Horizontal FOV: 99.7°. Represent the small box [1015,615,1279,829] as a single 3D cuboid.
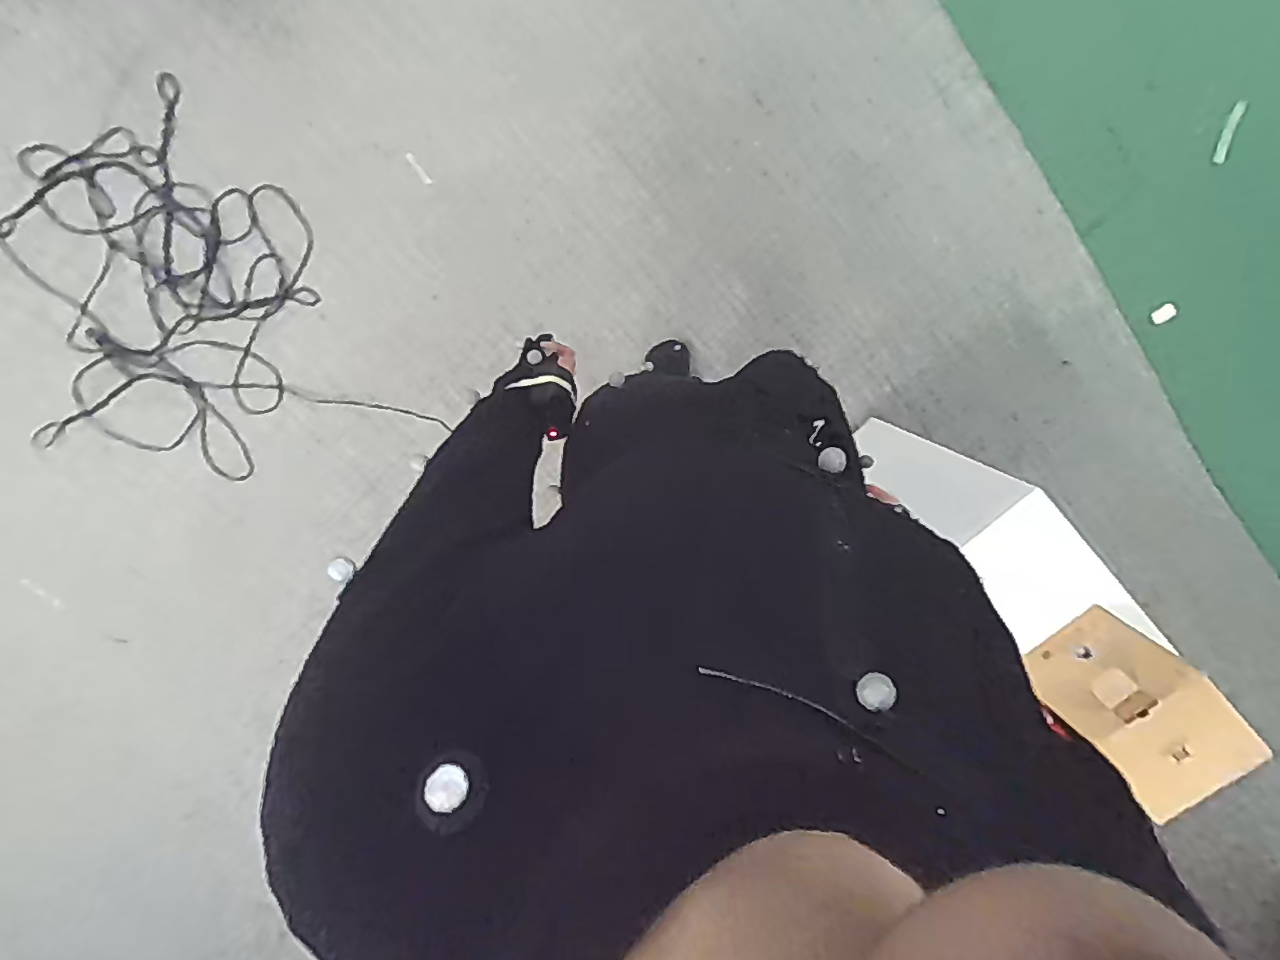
[{"bbox_3d":[0.684,0.324,0.752,0.179,0.176,0.168,43,103,-10],"label":"small box"}]
